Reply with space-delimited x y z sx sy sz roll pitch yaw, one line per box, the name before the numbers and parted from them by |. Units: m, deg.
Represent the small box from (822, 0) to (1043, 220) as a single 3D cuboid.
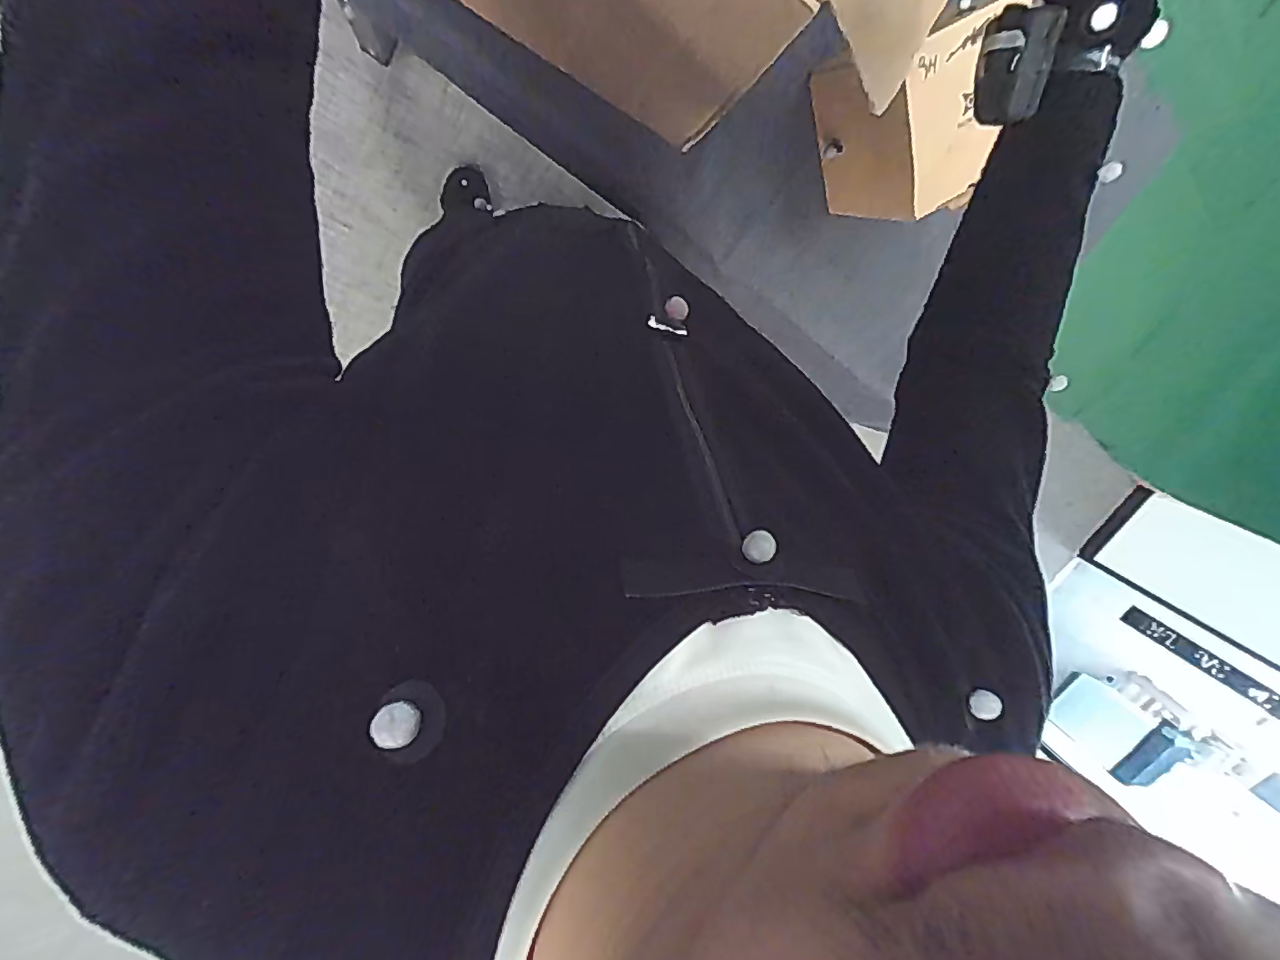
small box | 0.351 -0.452 0.674 0.168 0.176 0.179 -26 125 -3
